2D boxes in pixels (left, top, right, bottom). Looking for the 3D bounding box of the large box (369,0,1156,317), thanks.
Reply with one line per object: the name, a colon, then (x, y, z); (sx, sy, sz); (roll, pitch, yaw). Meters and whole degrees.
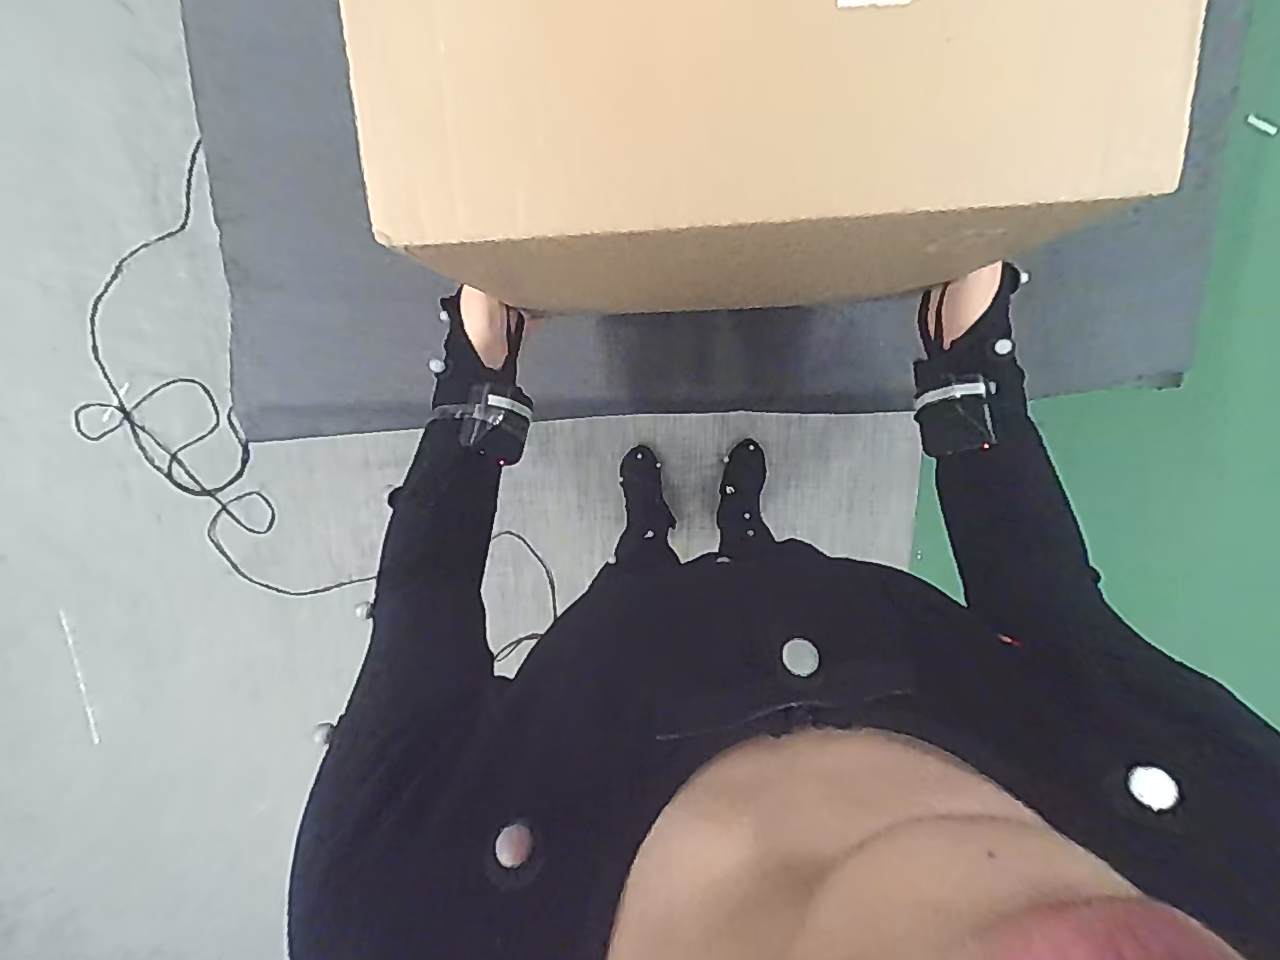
large box: (0.060, -0.316, 0.416); (0.408, 0.320, 0.320); (-2, 100, 4)
